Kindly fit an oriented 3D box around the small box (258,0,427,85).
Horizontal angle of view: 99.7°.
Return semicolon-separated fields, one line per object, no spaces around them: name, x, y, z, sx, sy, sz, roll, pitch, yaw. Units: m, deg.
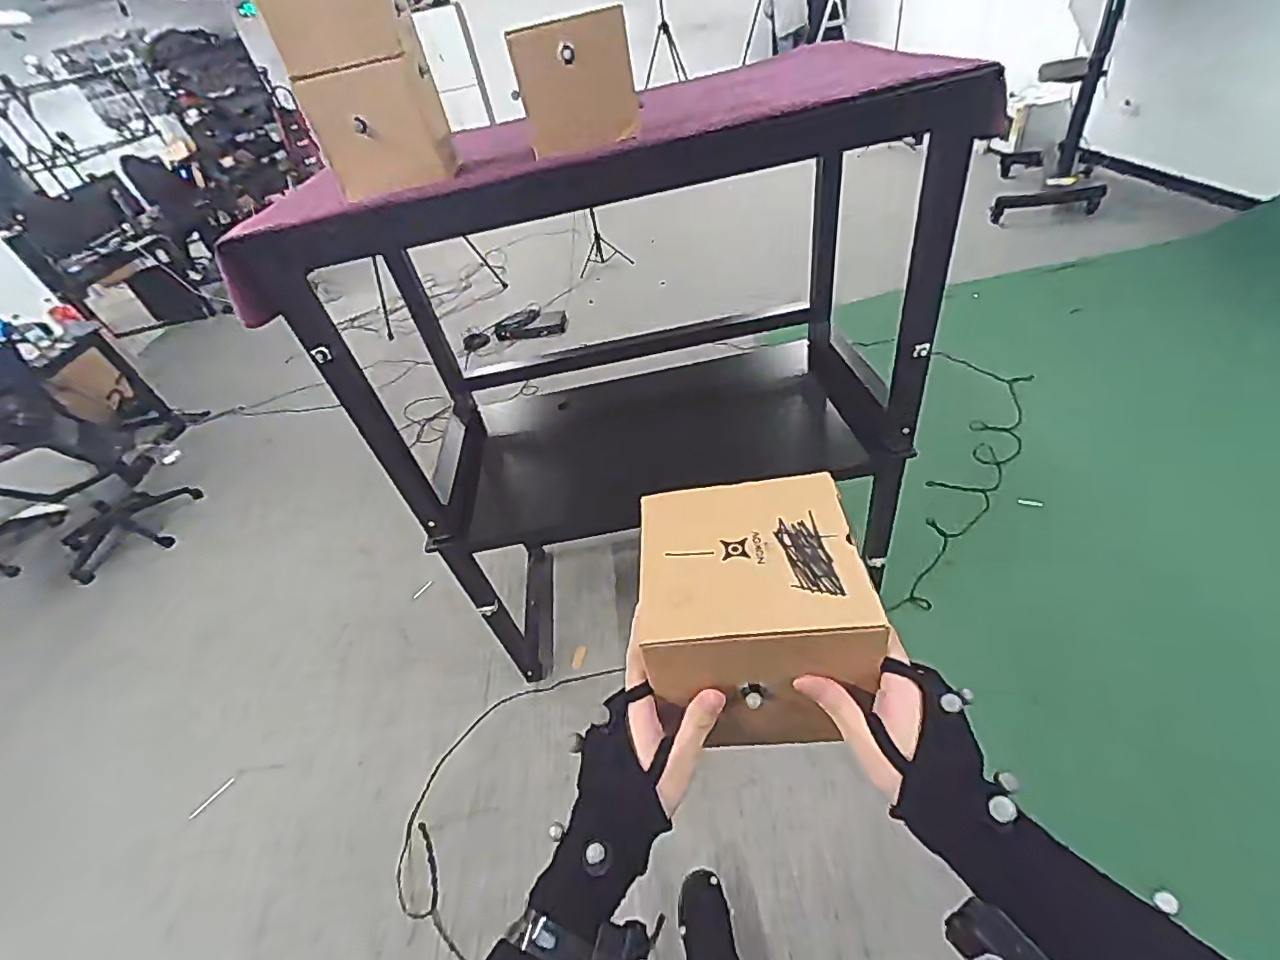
small box;-0.439;-0.692;0.785;0.179;0.176;0.168;-12;40;0

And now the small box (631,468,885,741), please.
small box;0.096;0.113;0.482;0.179;0.176;0.168;-7;38;8

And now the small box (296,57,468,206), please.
small box;-0.408;-0.570;0.888;0.179;0.176;0.168;-13;41;2

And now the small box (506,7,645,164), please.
small box;-0.098;-0.631;0.873;0.179;0.176;0.168;-12;41;2
